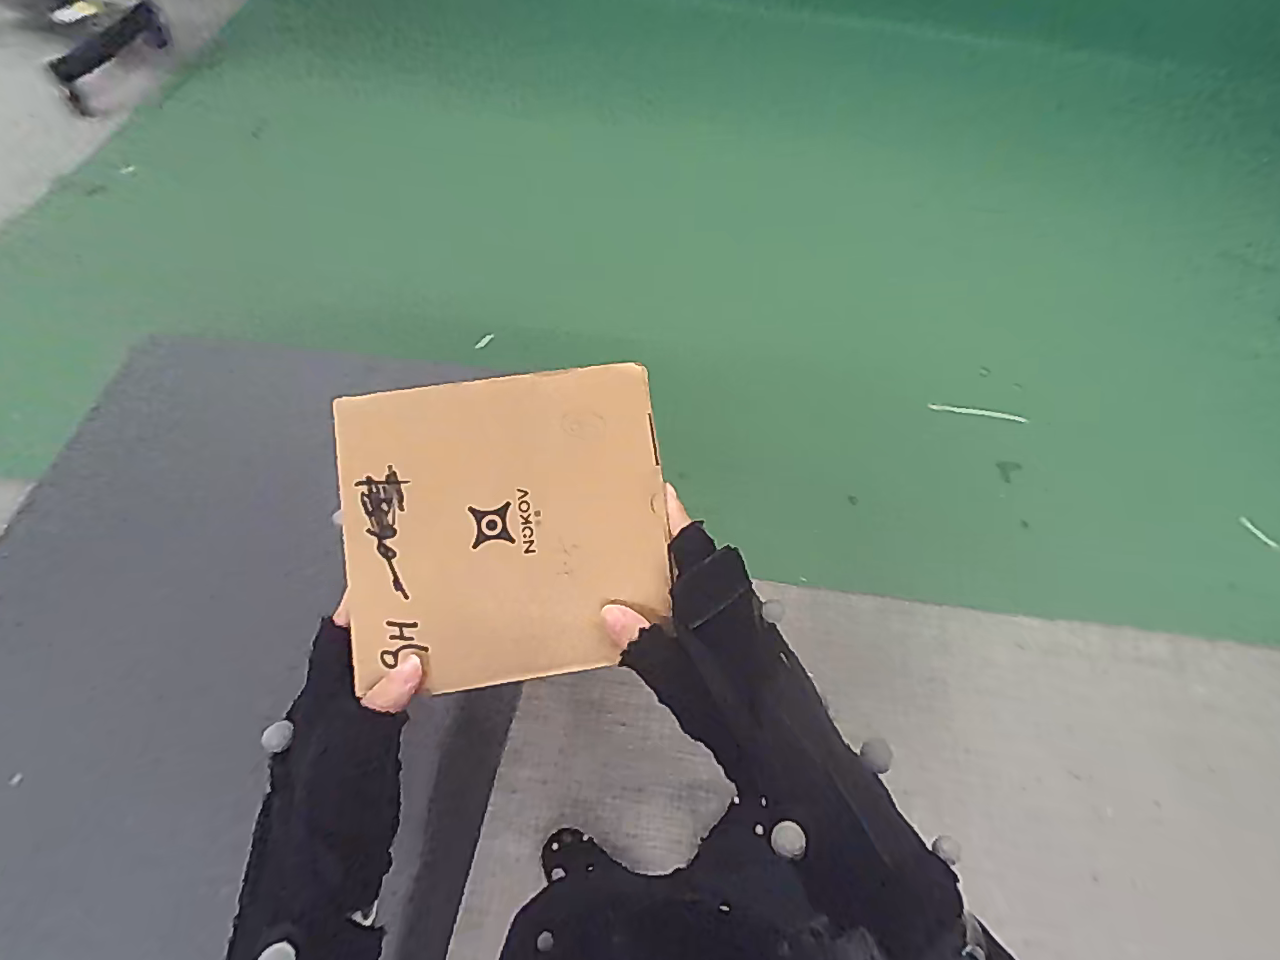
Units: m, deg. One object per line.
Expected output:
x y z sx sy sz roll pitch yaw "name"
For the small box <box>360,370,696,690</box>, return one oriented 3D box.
-0.069 0.033 0.379 0.179 0.176 0.168 -6 82 -5 "small box"
